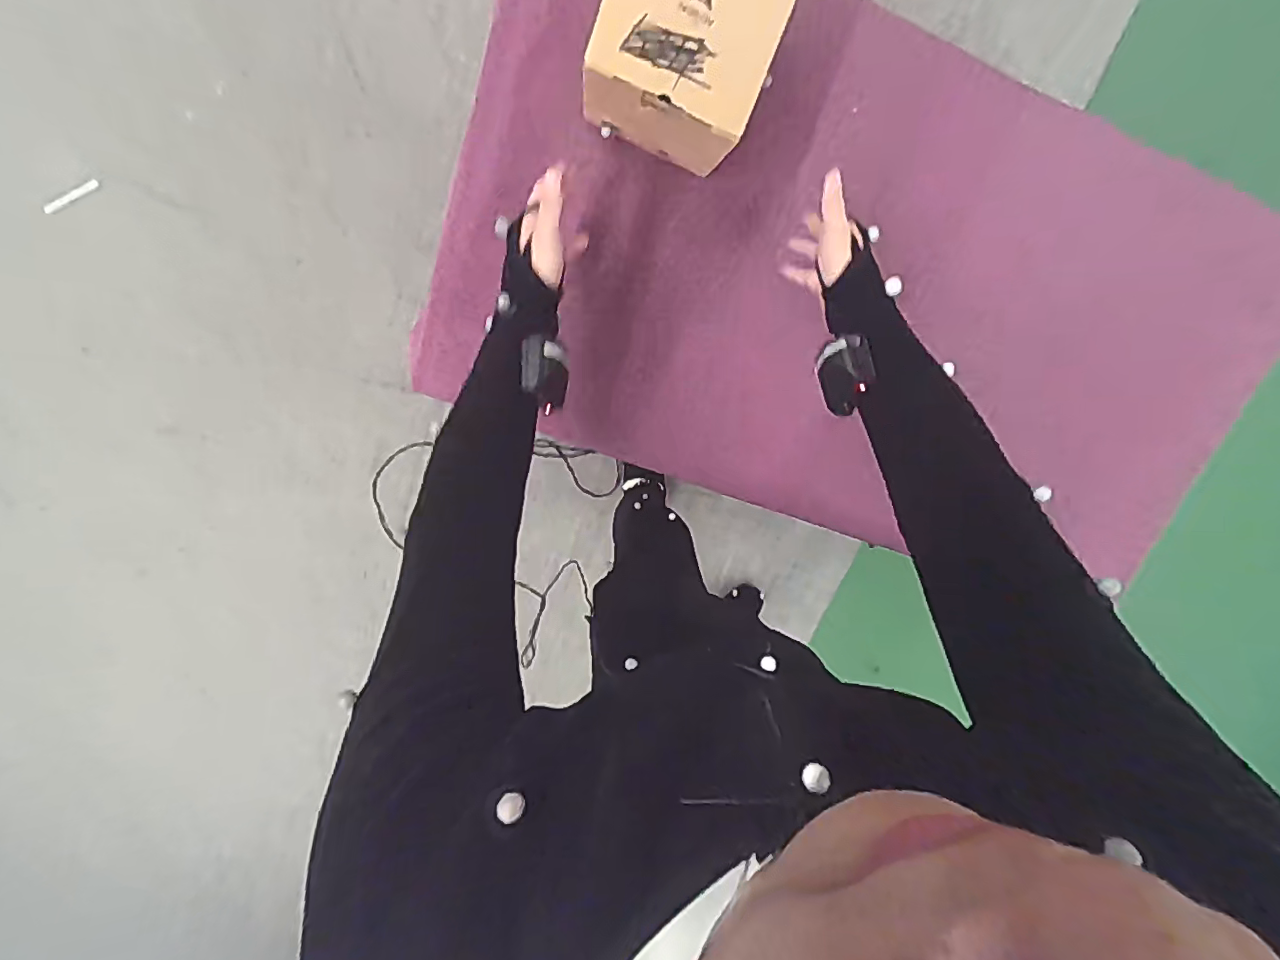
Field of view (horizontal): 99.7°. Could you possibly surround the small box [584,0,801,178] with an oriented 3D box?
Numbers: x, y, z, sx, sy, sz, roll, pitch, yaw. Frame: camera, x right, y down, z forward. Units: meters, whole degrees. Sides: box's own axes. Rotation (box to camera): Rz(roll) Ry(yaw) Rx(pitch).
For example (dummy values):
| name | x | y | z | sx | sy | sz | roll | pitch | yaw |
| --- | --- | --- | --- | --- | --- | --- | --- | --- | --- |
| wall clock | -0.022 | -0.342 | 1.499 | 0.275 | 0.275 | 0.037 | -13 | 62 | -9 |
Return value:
| name | x | y | z | sx | sy | sz | roll | pitch | yaw |
| --- | --- | --- | --- | --- | --- | --- | --- | --- | --- |
| small box | 0.047 | -0.452 | 0.573 | 0.168 | 0.176 | 0.179 | 19 | 105 | -13 |
